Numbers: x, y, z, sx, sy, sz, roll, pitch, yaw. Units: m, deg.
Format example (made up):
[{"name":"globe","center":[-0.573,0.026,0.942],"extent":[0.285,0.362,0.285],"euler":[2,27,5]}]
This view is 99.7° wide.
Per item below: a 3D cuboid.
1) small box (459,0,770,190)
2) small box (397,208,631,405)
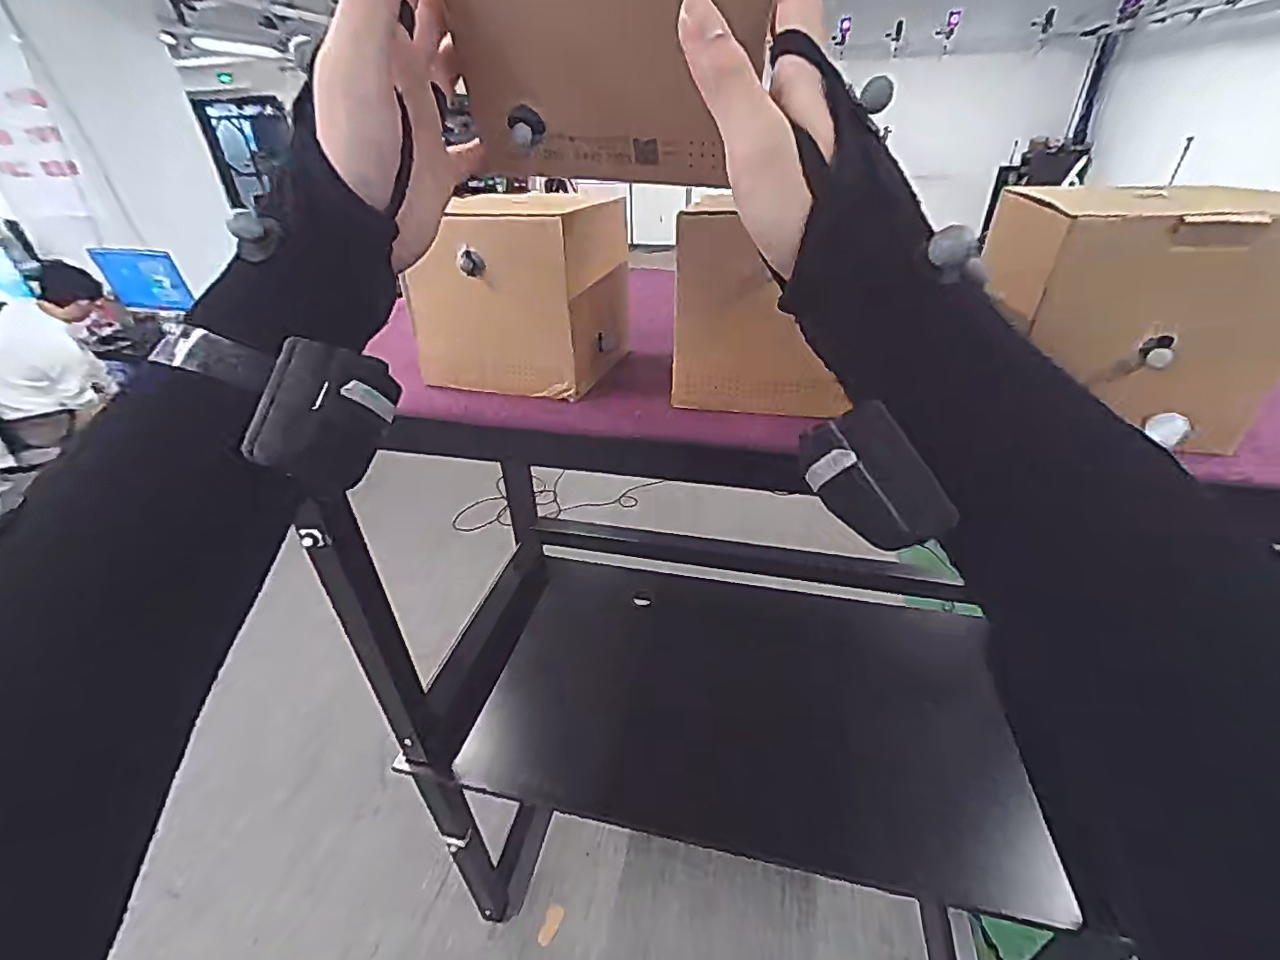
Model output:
[{"name":"small box","center":[-0.003,-0.304,0.332],"extent":[0.168,0.176,0.179],"euler":[7,57,6]},{"name":"small box","center":[-0.117,-0.190,0.577],"extent":[0.179,0.176,0.168],"euler":[9,33,15]}]
